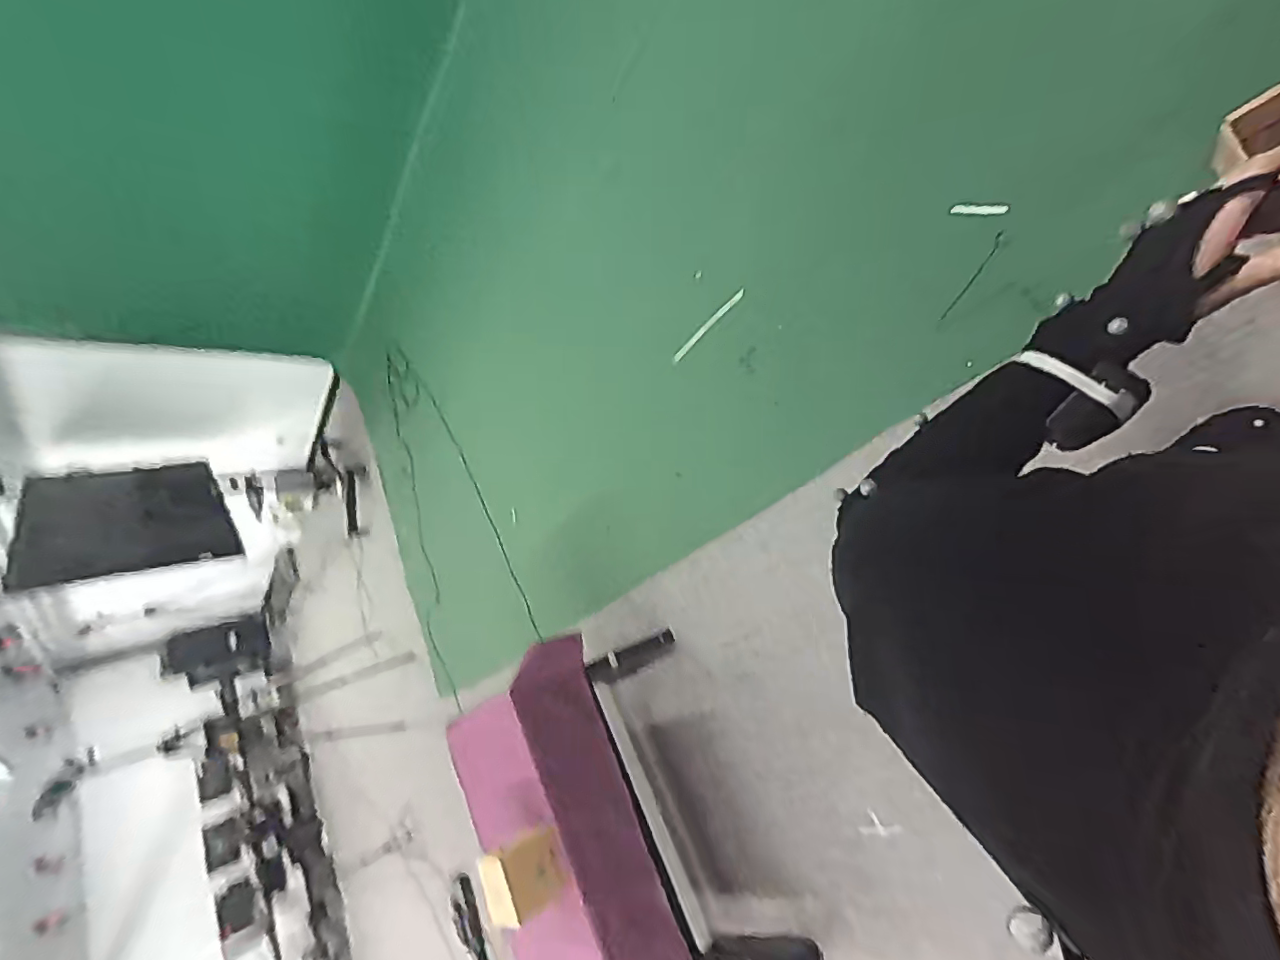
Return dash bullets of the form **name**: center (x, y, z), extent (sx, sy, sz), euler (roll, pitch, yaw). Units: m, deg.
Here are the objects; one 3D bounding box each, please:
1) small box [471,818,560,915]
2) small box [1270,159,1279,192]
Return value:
- **small box**: center (-0.344, 1.080, 1.523), extent (0.179, 0.176, 0.168), euler (-39, 67, 42)
- **small box**: center (0.513, -0.166, 0.287), extent (0.179, 0.176, 0.168), euler (-43, 63, 46)
